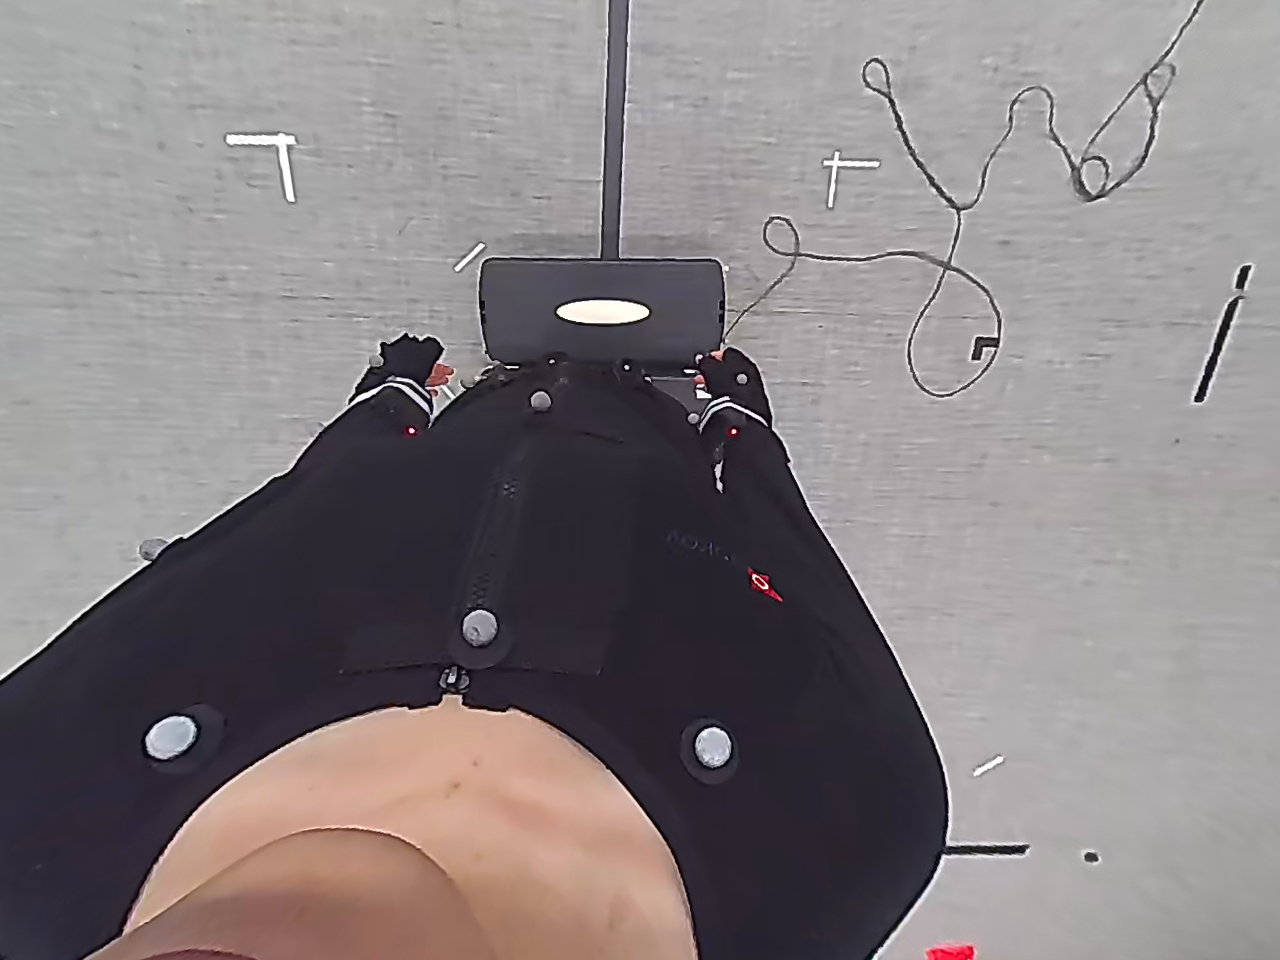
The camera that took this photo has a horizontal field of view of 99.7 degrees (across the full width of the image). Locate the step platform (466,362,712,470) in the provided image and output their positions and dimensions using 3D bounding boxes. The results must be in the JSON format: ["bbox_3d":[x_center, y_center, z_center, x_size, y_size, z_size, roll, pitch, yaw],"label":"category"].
[{"bbox_3d":[-0.139,-0.183,1.540,0.684,0.204,0.286,0,106,-1],"label":"step platform"}]
